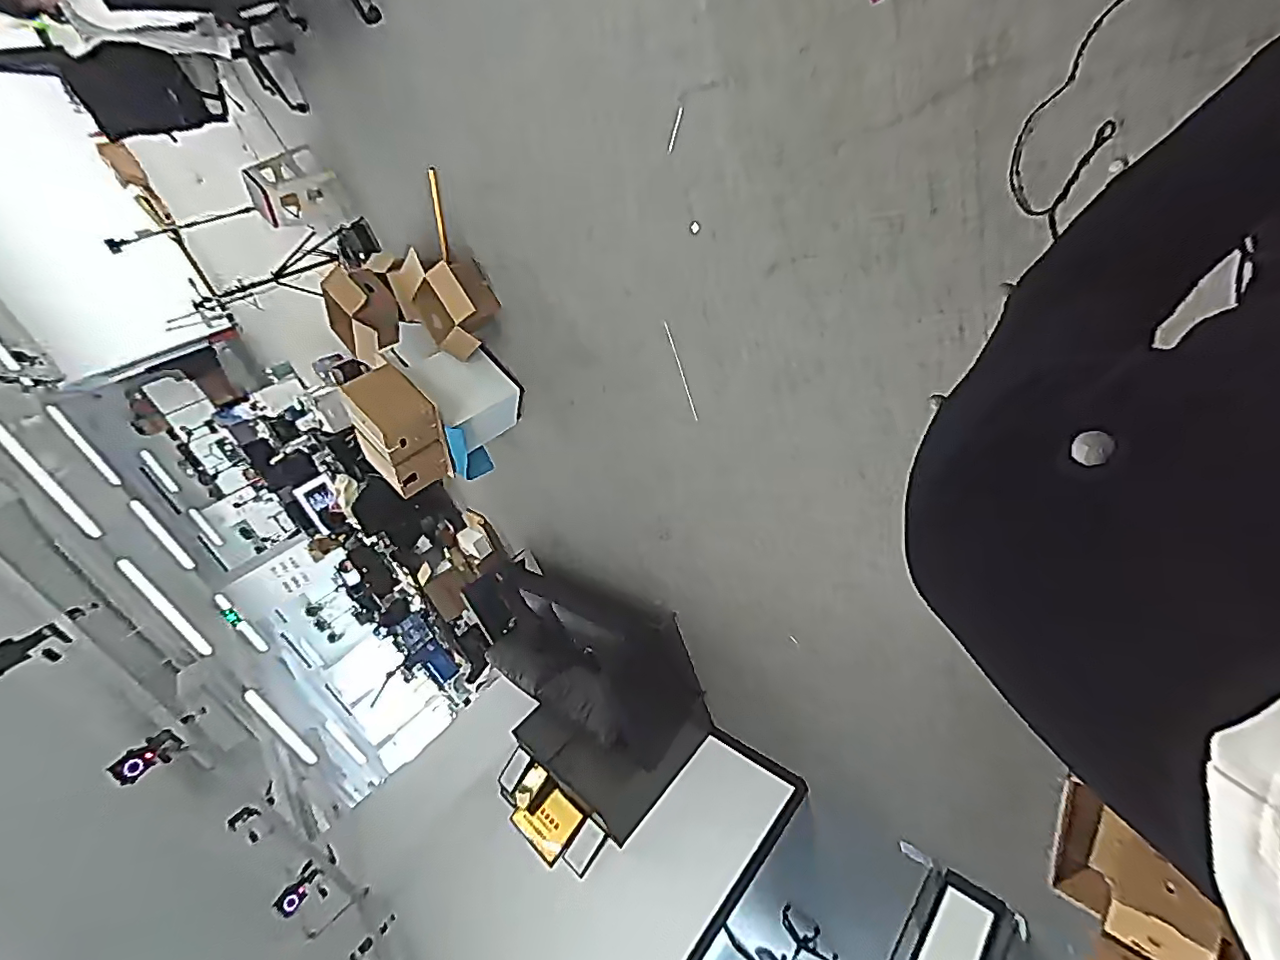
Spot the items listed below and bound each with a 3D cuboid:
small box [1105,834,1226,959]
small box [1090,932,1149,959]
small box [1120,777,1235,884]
[{"bbox_3d":[1.203,0.967,1.240,0.168,0.176,0.179,16,135,46],"label":"small box"},{"bbox_3d":[1.153,1.228,1.267,0.168,0.176,0.179,12,129,48],"label":"small box"},{"bbox_3d":[1.313,0.880,1.322,0.168,0.176,0.179,15,135,45],"label":"small box"}]
